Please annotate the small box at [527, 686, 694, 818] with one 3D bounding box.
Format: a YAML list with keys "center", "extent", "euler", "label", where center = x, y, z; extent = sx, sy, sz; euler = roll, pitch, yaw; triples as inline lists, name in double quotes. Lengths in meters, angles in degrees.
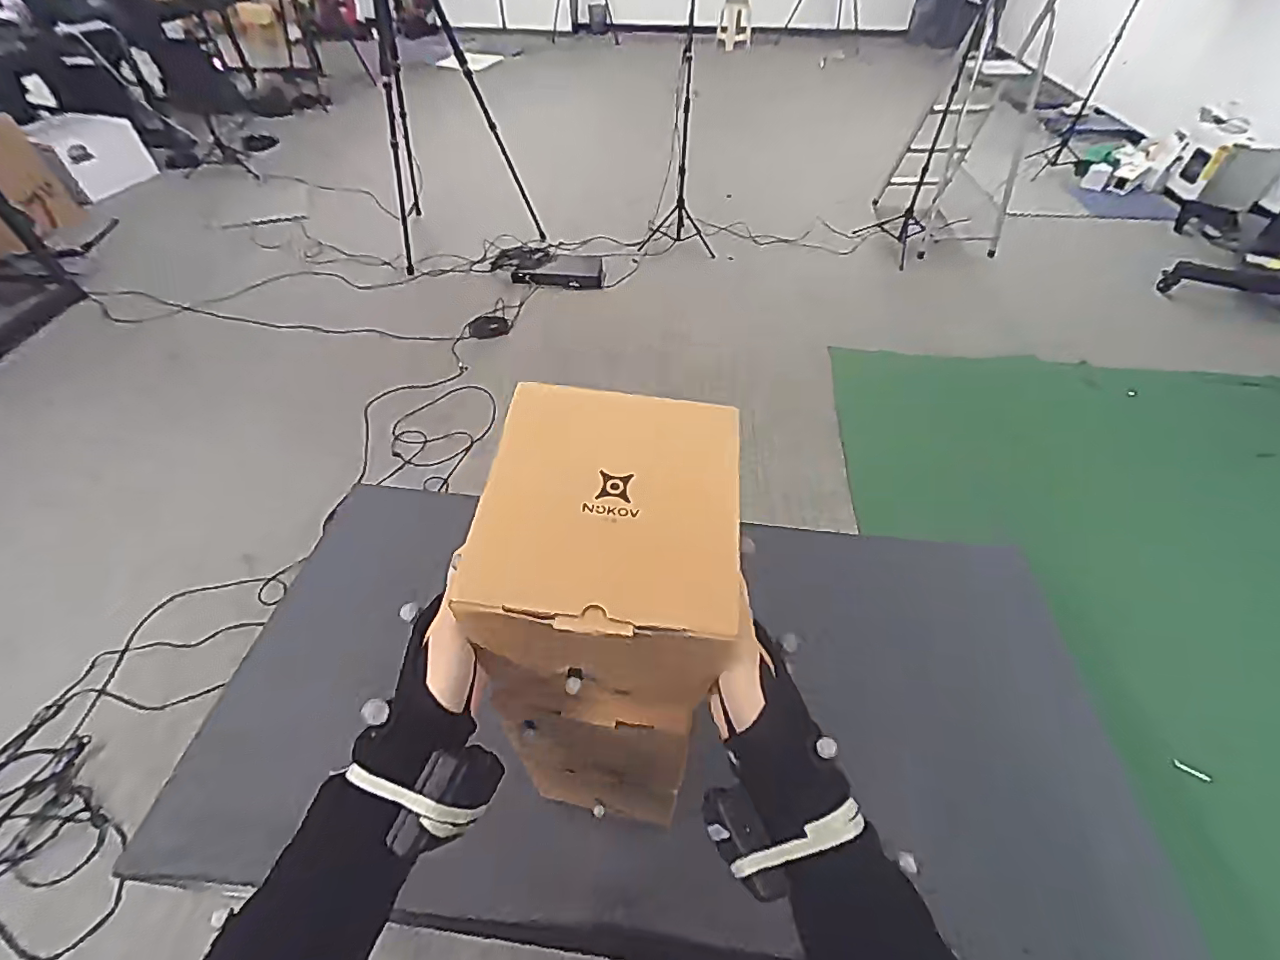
- center: [-0.023, 0.282, 0.660]
  extent: [0.168, 0.176, 0.179]
  euler: [9, 49, 8]
  label: "small box"

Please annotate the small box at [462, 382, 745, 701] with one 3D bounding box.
- center: [-0.019, 0.050, 0.418]
  extent: [0.168, 0.176, 0.179]
  euler: [5, 52, 1]
  label: "small box"
